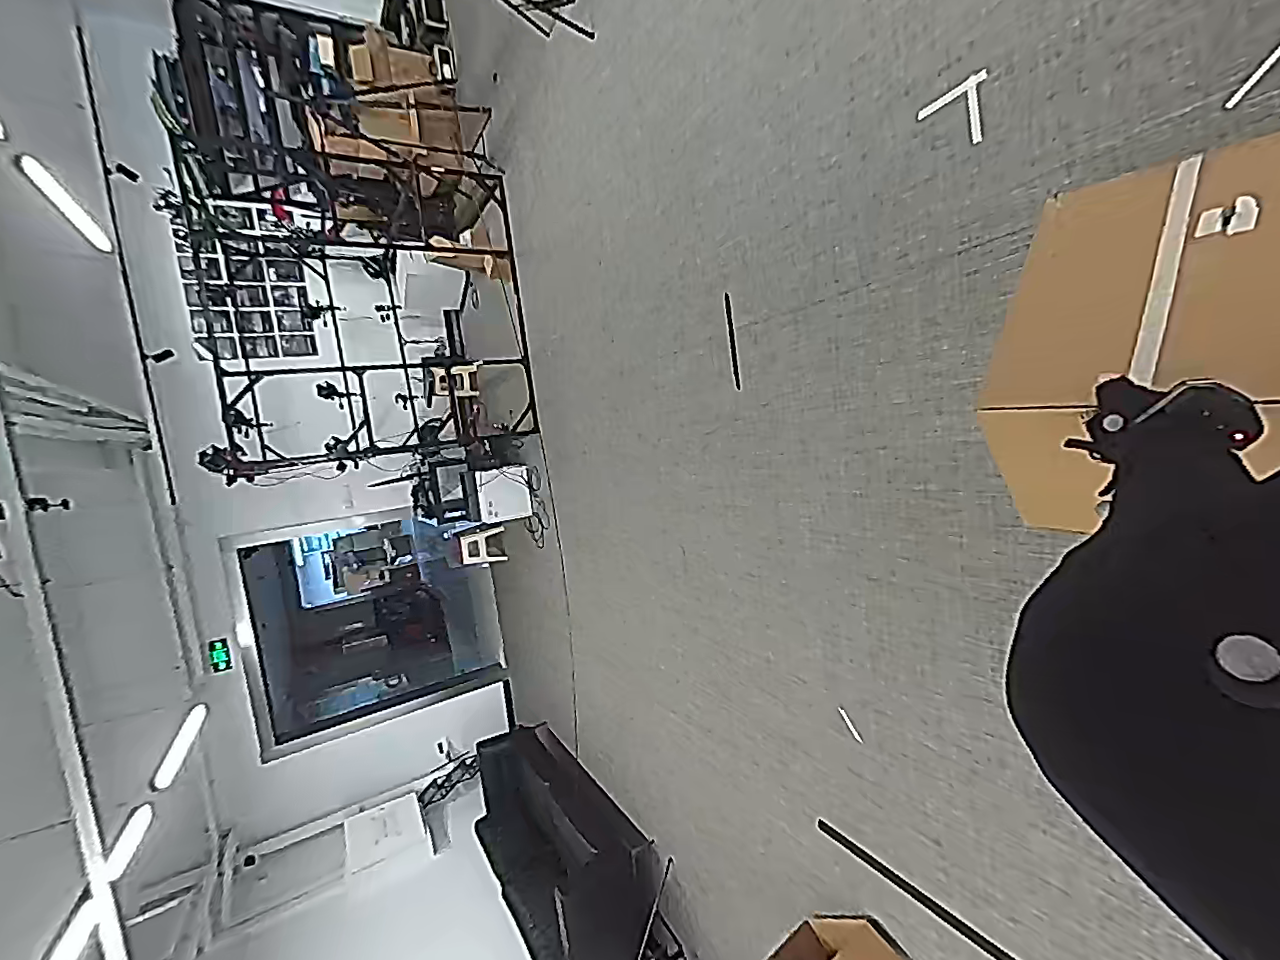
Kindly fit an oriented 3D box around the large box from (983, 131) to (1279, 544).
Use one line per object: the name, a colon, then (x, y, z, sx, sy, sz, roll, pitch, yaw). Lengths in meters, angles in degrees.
large box: (0.717, -0.170, 0.723, 0.320, 0.320, 0.408, 8, 63, 49)
